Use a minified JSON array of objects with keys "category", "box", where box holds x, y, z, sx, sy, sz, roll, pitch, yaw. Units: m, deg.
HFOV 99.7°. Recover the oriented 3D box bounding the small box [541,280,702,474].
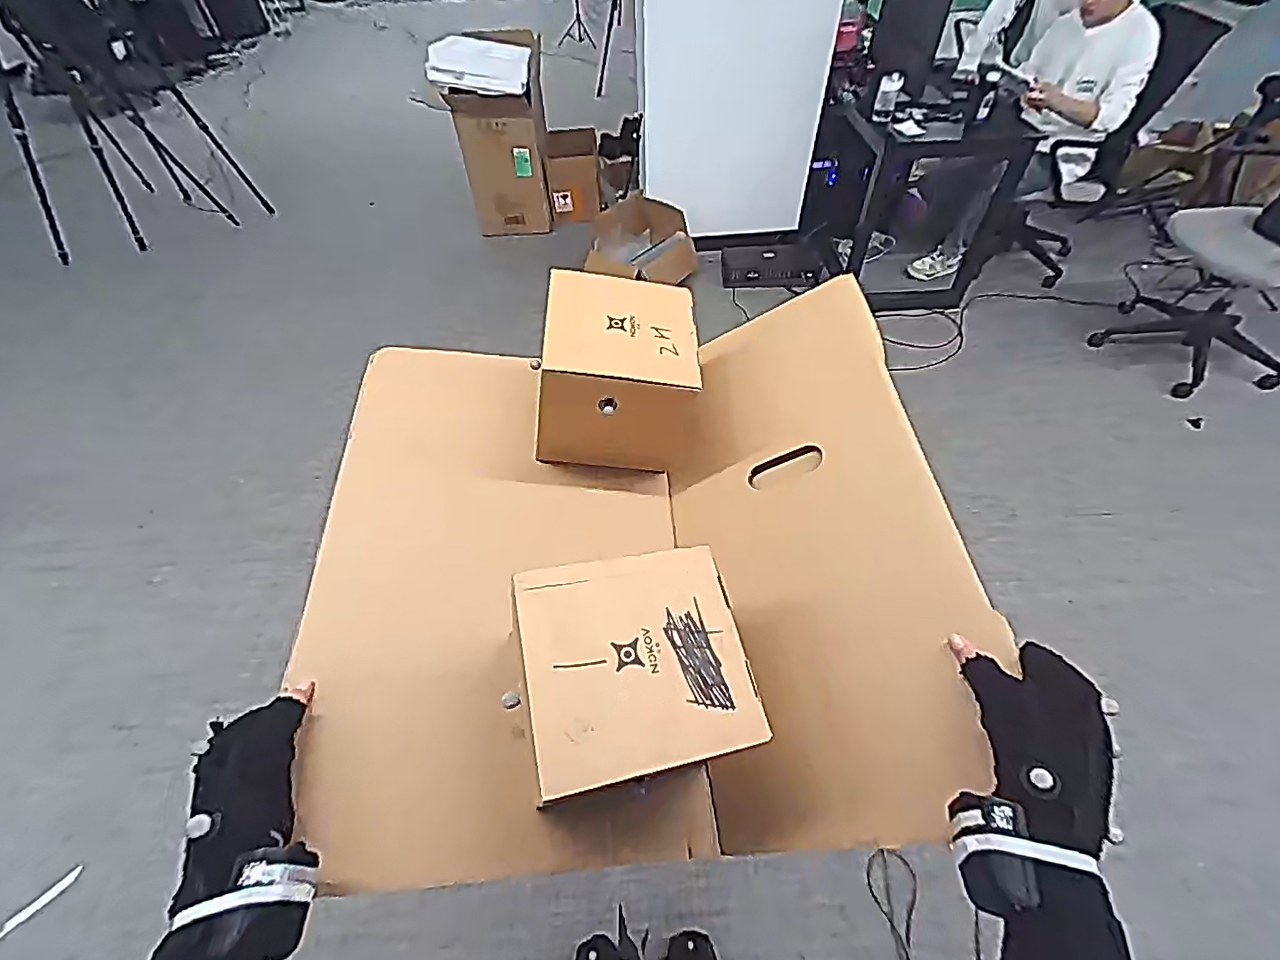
[{"category":"small box","box":[-0.031,-0.123,0.690,0.179,0.176,0.168,6,57,-10]}]
